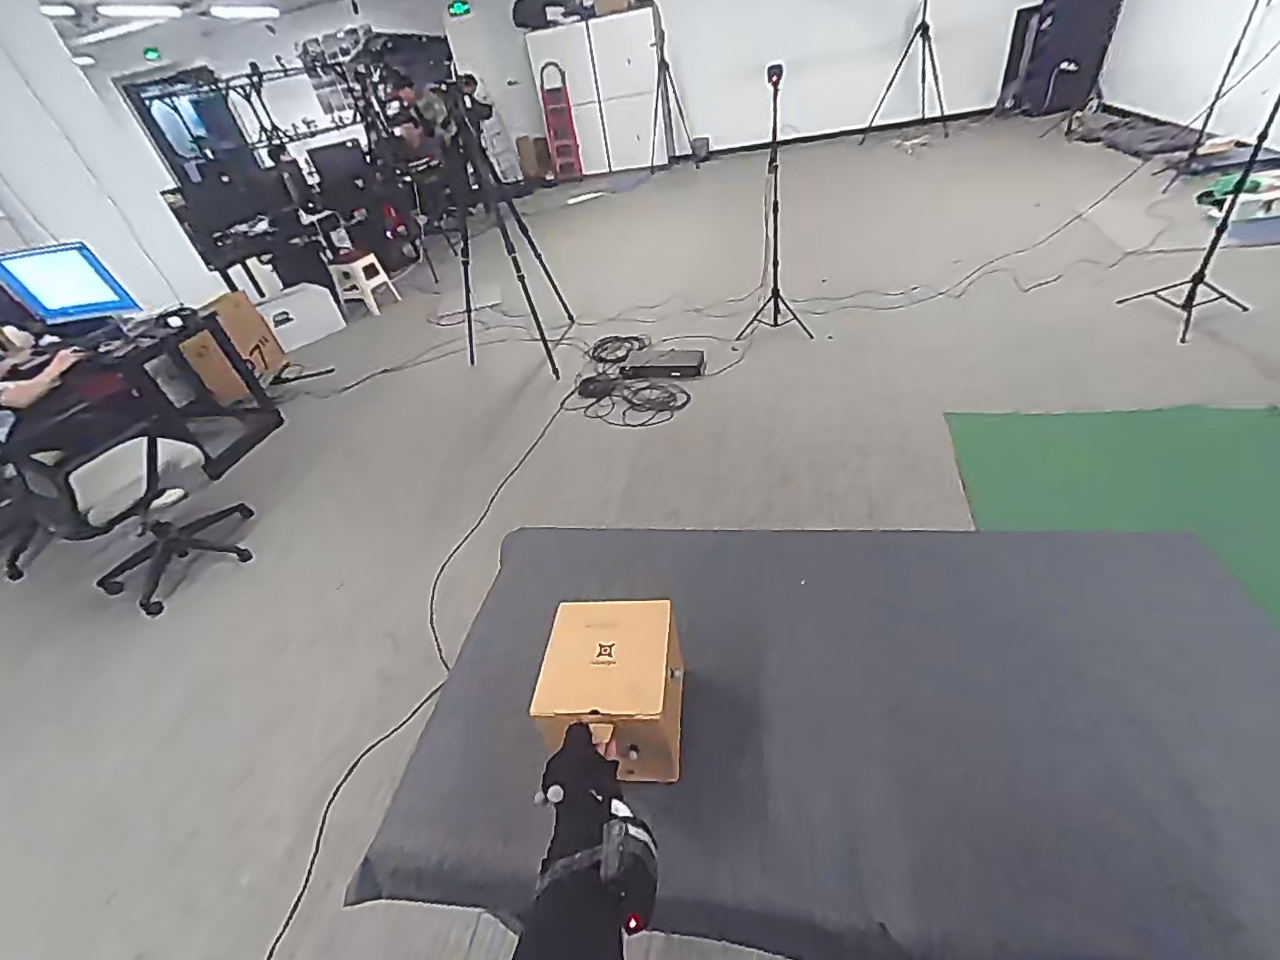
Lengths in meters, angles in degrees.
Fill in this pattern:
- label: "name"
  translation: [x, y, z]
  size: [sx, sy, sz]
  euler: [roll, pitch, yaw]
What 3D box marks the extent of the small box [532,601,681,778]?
- label: "small box"
  translation: [-0.032, 0.290, 0.753]
  size: [0.168, 0.176, 0.179]
  euler: [-2, 36, 9]
